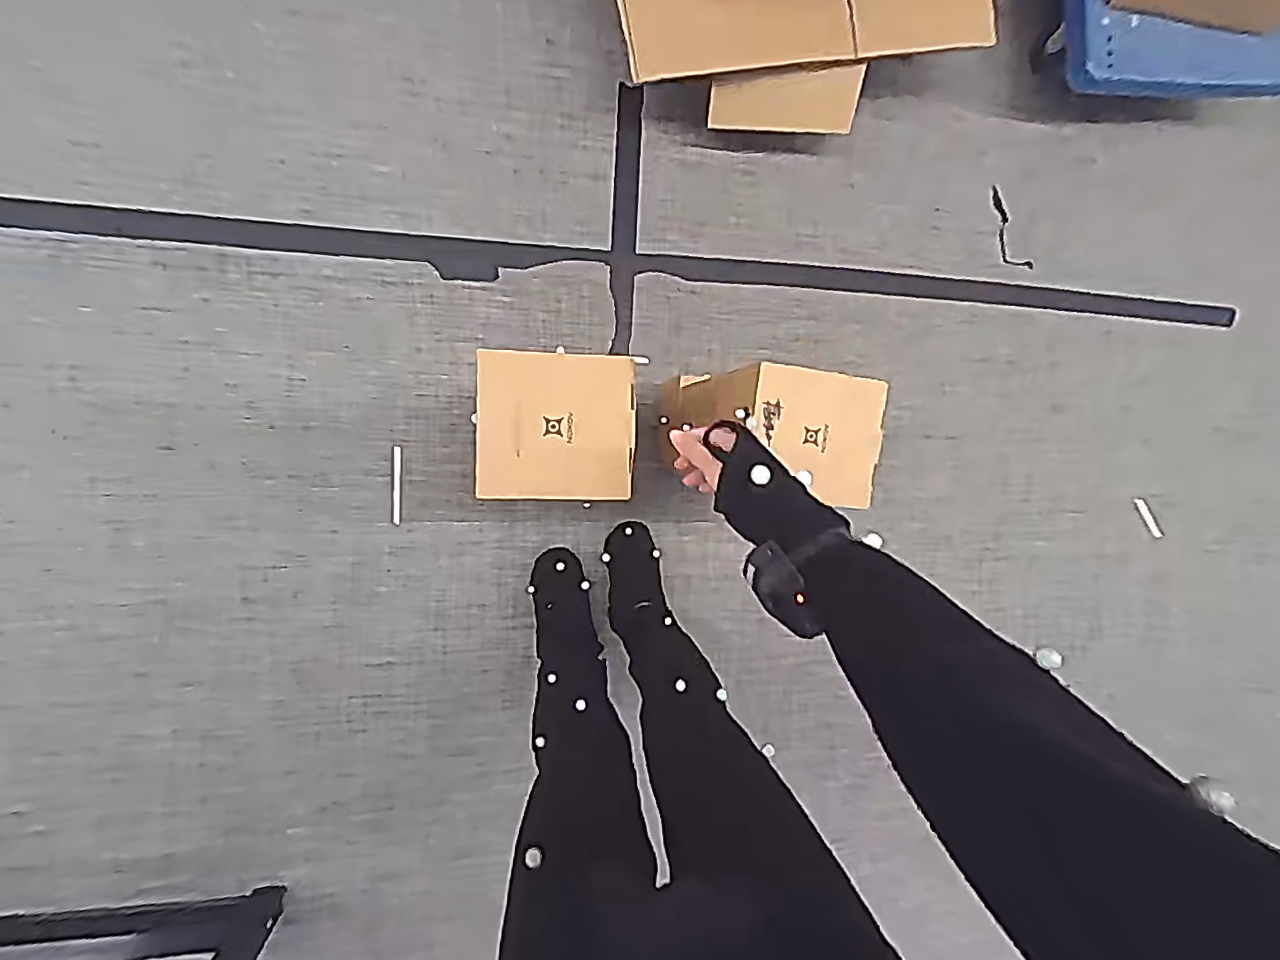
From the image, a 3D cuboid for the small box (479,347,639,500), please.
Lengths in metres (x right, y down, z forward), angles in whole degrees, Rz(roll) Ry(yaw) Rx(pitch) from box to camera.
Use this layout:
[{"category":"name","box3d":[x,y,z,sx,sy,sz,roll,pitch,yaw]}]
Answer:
[{"category":"small box","box3d":[-0.104,-0.066,0.677,0.179,0.176,0.168,0,93,-11]}]

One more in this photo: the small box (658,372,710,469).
[{"category":"small box","box3d":[0.134,-0.111,1.055,0.168,0.176,0.179,1,94,-12]}]

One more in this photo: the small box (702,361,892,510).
[{"category":"small box","box3d":[0.203,-0.060,0.737,0.179,0.176,0.168,7,94,-13]}]

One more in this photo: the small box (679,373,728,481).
[{"category":"small box","box3d":[0.170,-0.078,0.897,0.179,0.176,0.168,3,95,-12]}]
